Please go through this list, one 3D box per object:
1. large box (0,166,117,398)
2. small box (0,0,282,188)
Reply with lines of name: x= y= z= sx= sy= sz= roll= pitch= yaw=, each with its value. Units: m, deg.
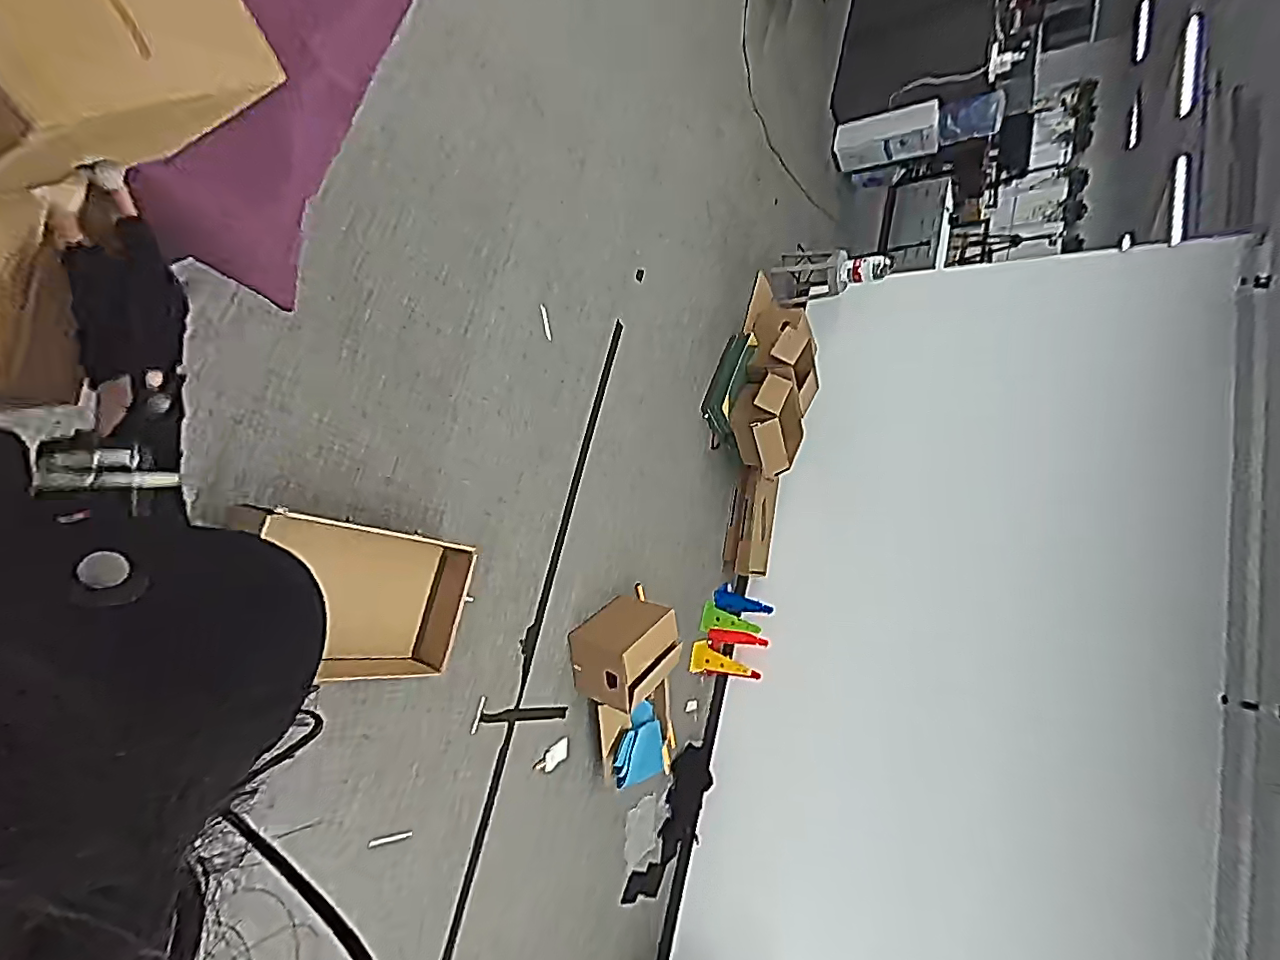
large box: x=-0.644 y=-0.244 z=0.320 sx=0.408 sy=0.320 sz=0.320 roll=16 pitch=79 yaw=-63
small box: x=-0.370 y=-0.290 z=0.306 sx=0.168 sy=0.176 sz=0.179 roll=-62 pitch=141 yaw=-45
